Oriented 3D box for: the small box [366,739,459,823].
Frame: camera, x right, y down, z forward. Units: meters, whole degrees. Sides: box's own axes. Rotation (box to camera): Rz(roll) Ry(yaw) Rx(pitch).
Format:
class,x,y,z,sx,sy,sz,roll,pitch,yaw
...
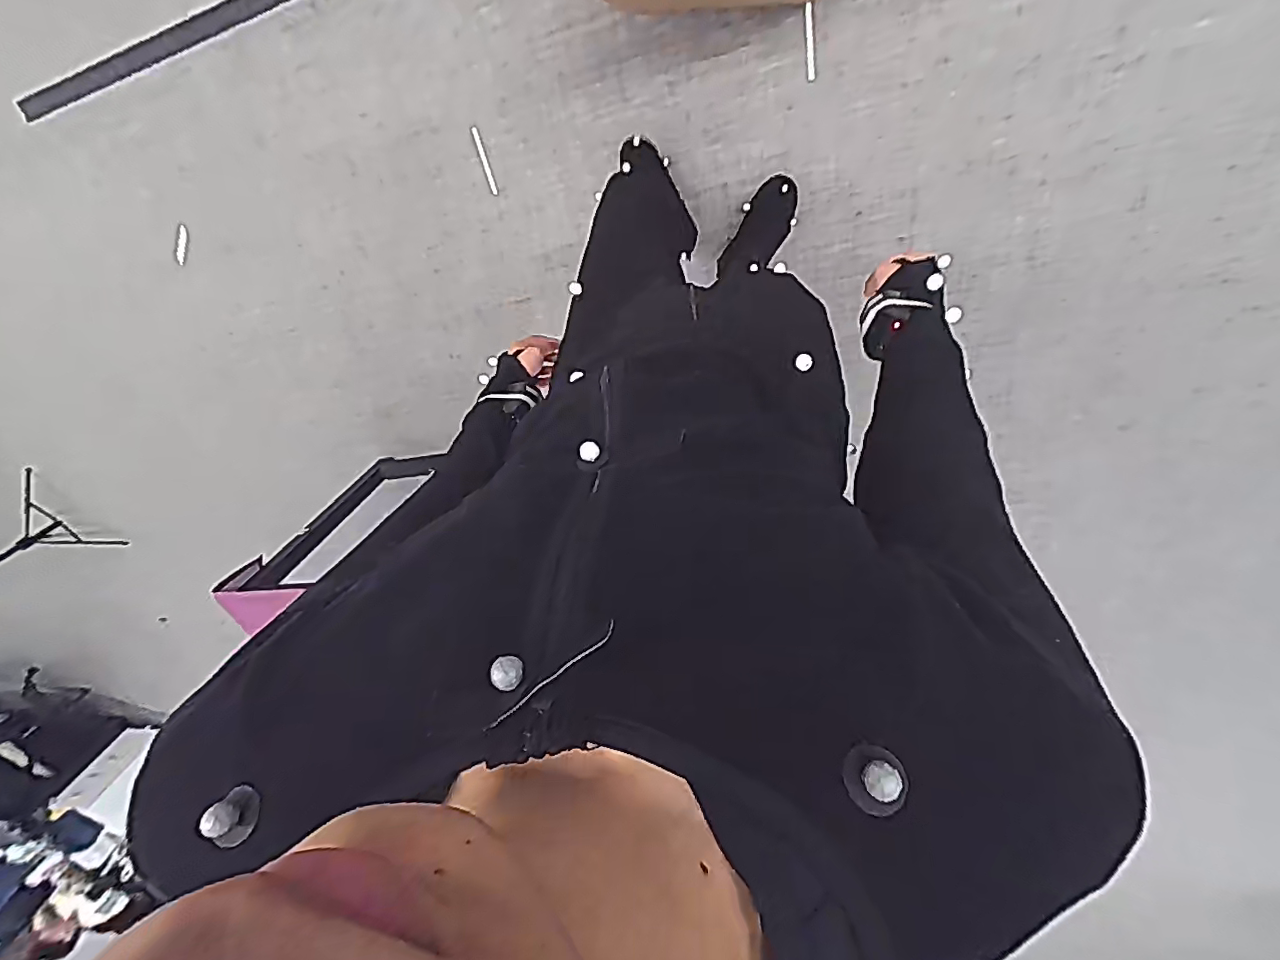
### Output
class,x,y,z,sx,sy,sz,roll,pitch,yaw
small box,-0.680,0.914,1.647,0.179,0.176,0.168,-18,118,24
